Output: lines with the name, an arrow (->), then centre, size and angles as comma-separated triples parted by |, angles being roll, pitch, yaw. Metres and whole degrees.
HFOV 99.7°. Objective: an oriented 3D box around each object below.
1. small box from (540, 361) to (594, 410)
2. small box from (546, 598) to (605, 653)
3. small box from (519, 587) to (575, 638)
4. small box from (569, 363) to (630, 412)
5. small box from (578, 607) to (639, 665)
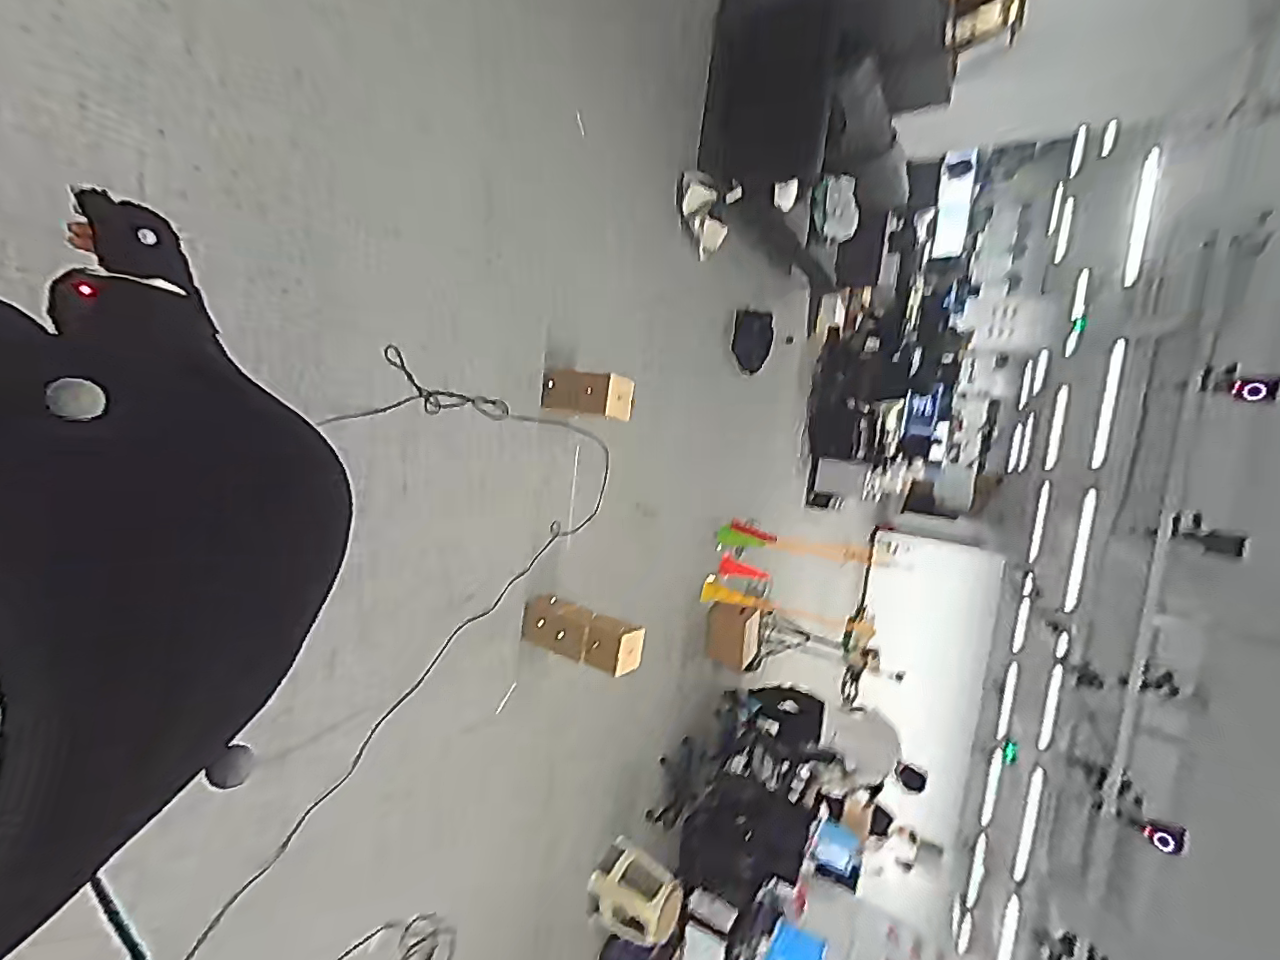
small box -> -0.288, -0.398, 2.258 | 0.179, 0.176, 0.168 | 10, 90, -60
small box -> -0.270, 0.608, 2.290 | 0.179, 0.176, 0.168 | 4, 96, -59
small box -> -0.409, 0.575, 2.372 | 0.168, 0.176, 0.179 | 3, 97, -59
small box -> -0.165, -0.373, 2.180 | 0.179, 0.176, 0.168 | 6, 93, -61
small box -> -0.128, 0.634, 2.216 | 0.179, 0.176, 0.168 | 3, 97, -59
